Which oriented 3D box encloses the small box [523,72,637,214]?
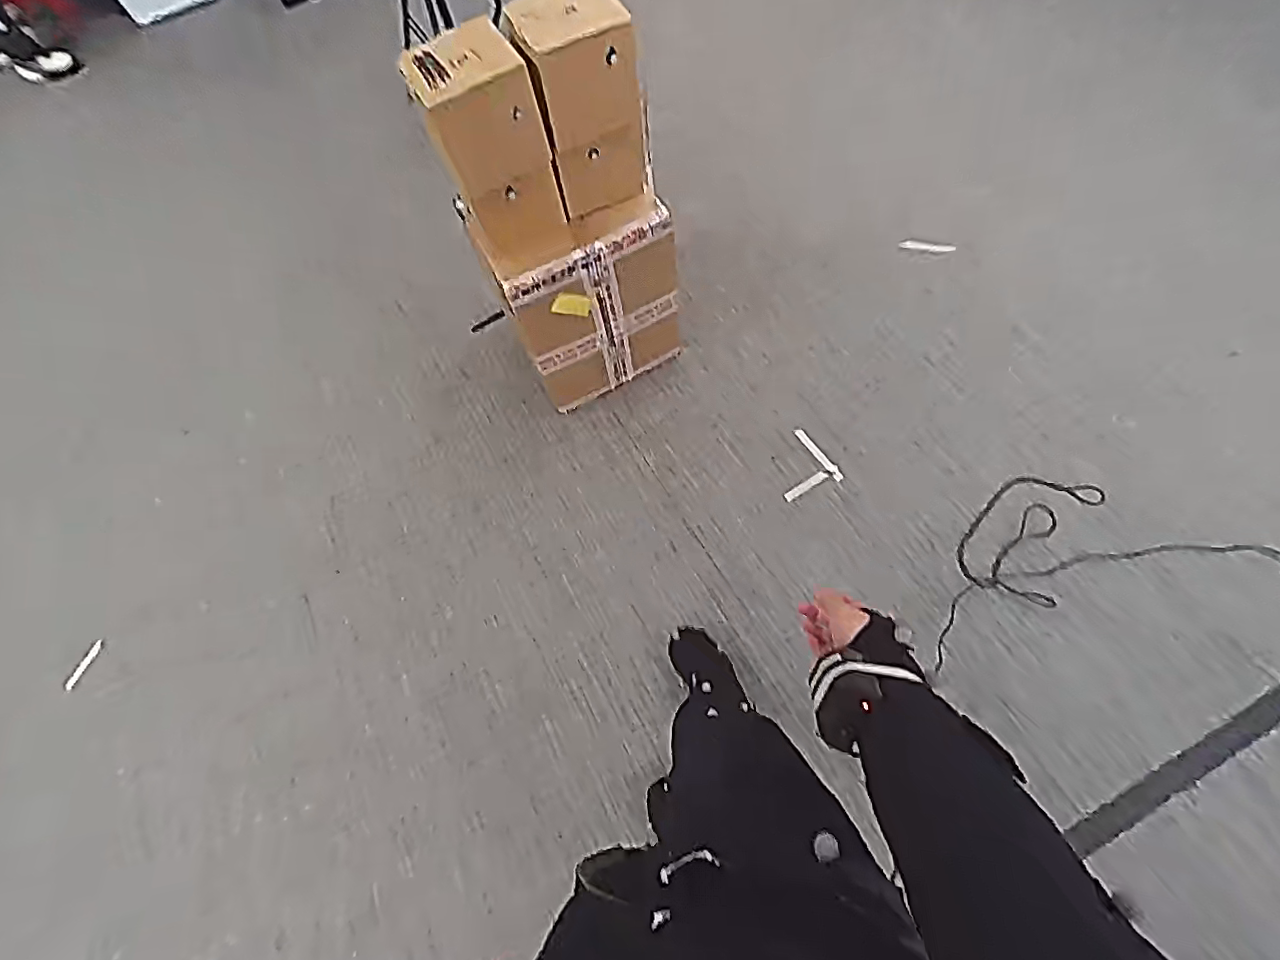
[{"bbox_3d":[-0.117,-0.690,1.121,0.179,0.176,0.168,-23,67,-6],"label":"small box"}]
